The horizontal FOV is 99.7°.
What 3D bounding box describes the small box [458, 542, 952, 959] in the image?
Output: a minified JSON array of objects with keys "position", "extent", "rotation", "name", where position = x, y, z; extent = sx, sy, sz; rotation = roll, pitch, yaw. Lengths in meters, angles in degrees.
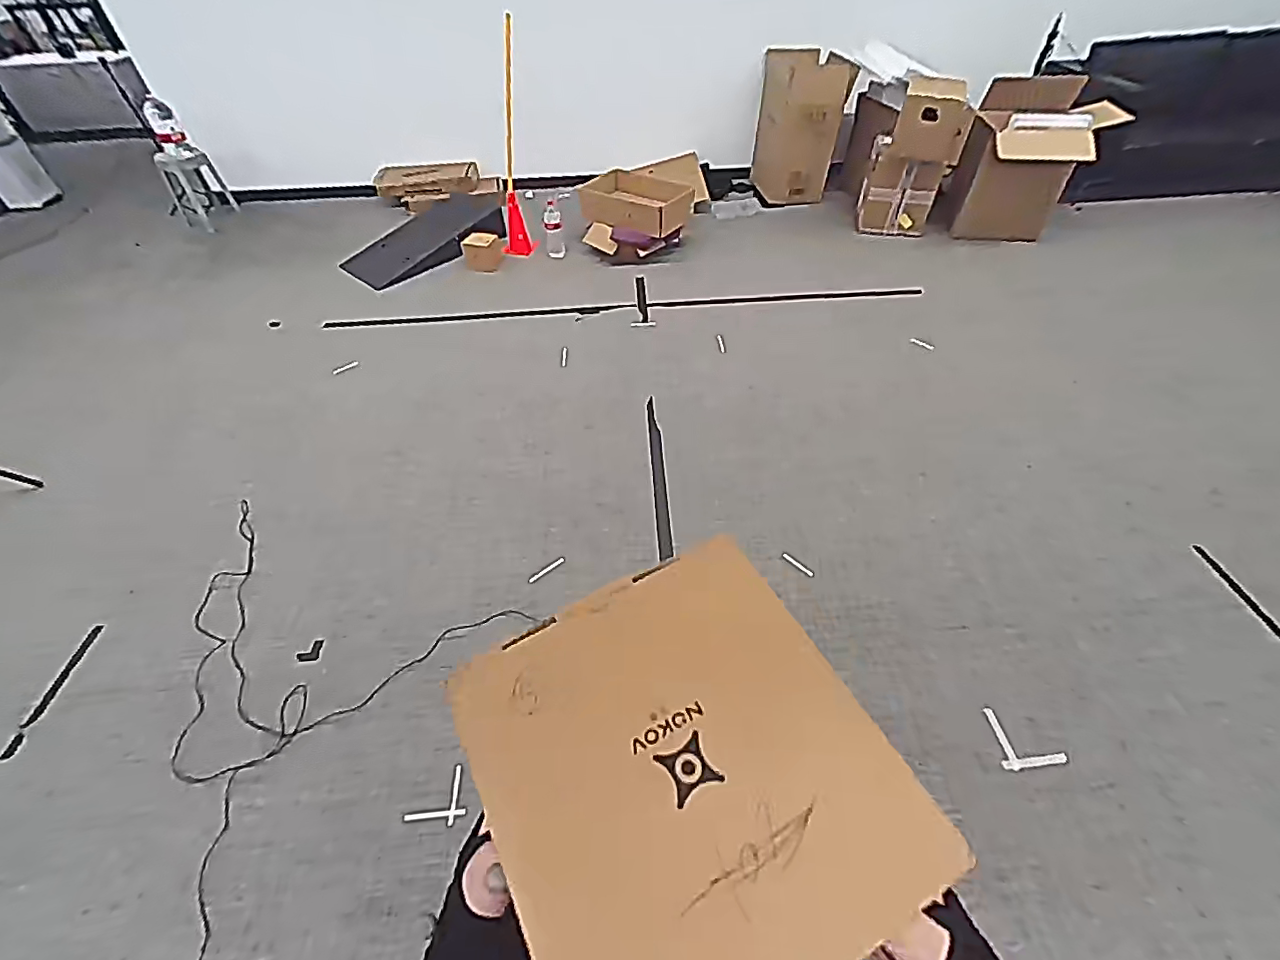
[{"position":[0.020,0.174,0.311],"extent":[0.168,0.176,0.179],"rotation":[-26,57,-17],"name":"small box"}]
